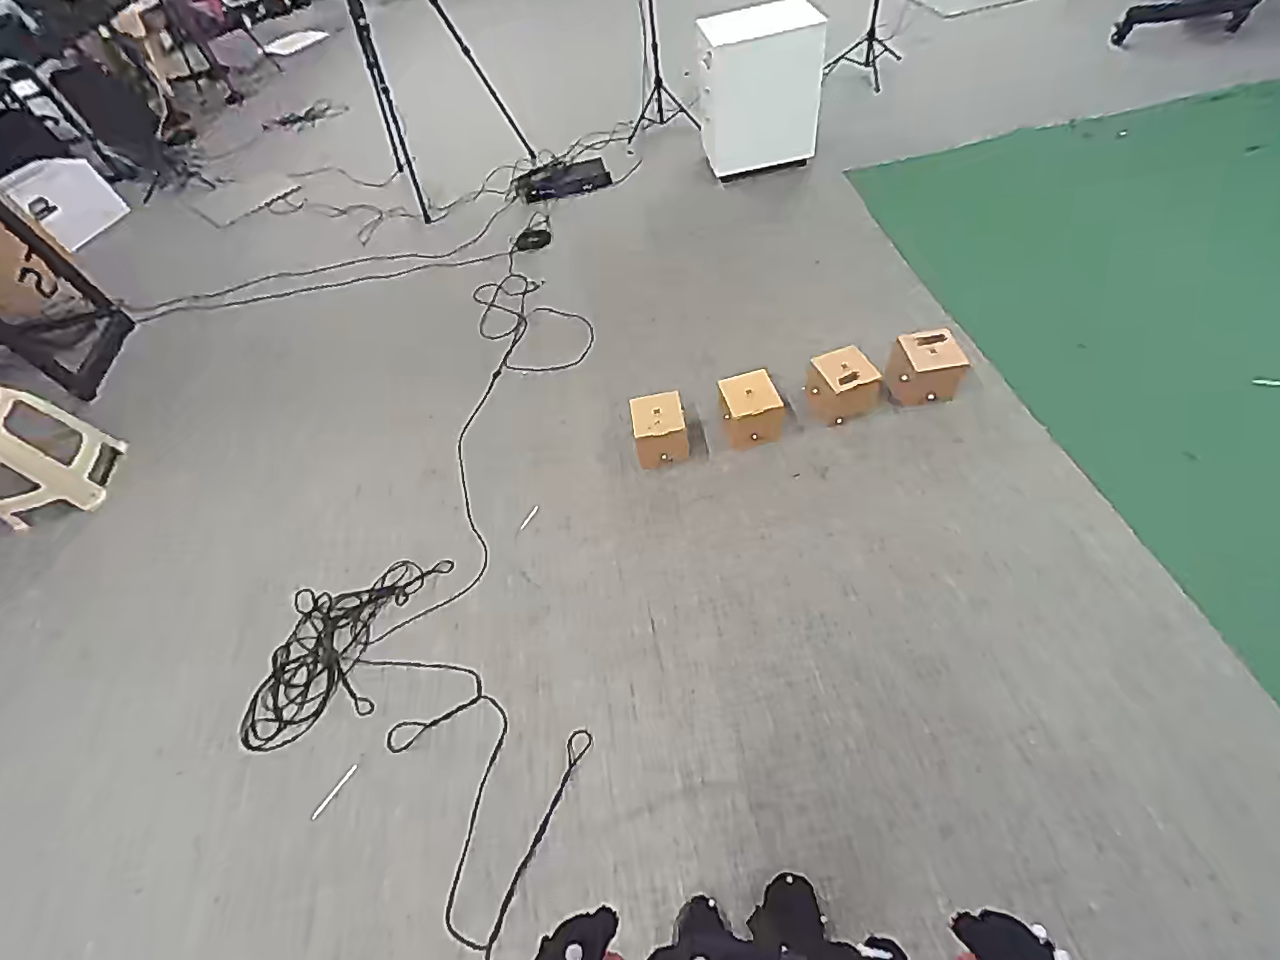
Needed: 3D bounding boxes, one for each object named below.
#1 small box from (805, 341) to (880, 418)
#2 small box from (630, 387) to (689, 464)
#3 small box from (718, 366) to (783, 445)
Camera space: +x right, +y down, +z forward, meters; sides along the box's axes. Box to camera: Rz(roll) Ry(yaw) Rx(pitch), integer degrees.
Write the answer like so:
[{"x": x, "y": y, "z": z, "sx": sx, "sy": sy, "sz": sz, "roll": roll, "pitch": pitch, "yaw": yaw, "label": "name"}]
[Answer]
[{"x": 0.672, "y": -0.328, "z": 1.814, "sx": 0.168, "sy": 0.176, "sz": 0.179, "roll": -19, "pitch": 54, "yaw": -4, "label": "small box"}, {"x": 0.066, "y": -0.181, "z": 1.816, "sx": 0.168, "sy": 0.176, "sz": 0.179, "roll": -11, "pitch": 54, "yaw": 4, "label": "small box"}, {"x": 0.364, "y": -0.248, "z": 1.811, "sx": 0.168, "sy": 0.176, "sz": 0.179, "roll": -16, "pitch": 55, "yaw": -1, "label": "small box"}]
